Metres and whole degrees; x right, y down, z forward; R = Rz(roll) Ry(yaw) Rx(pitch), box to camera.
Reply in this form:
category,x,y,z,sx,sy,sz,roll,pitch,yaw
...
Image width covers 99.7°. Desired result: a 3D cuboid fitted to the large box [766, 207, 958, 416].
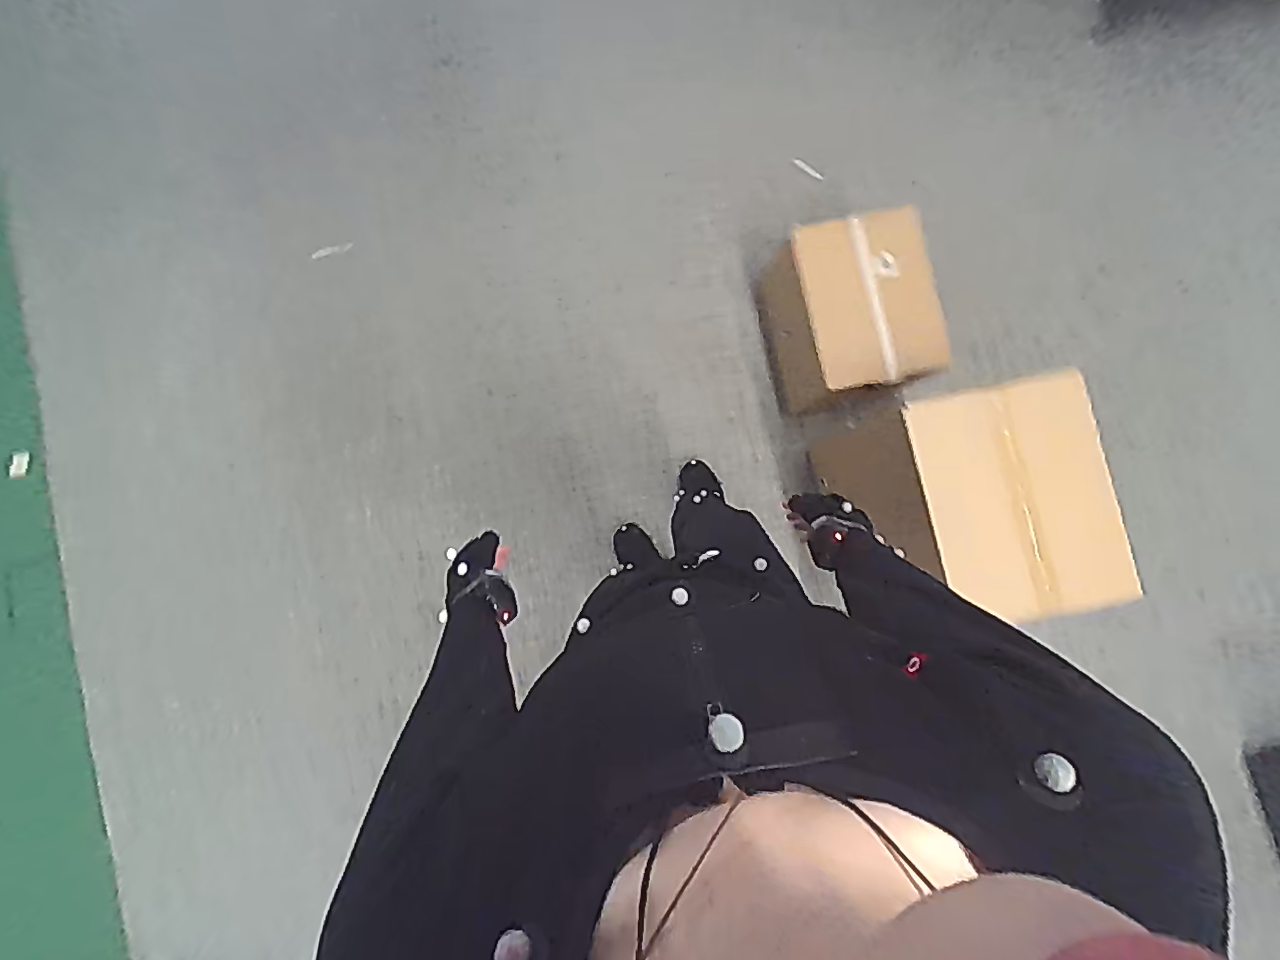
category,x,y,z,sx,sy,sz,roll,pitch,yaw
large box,0.550,-0.415,1.412,0.320,0.320,0.408,-11,85,-2
